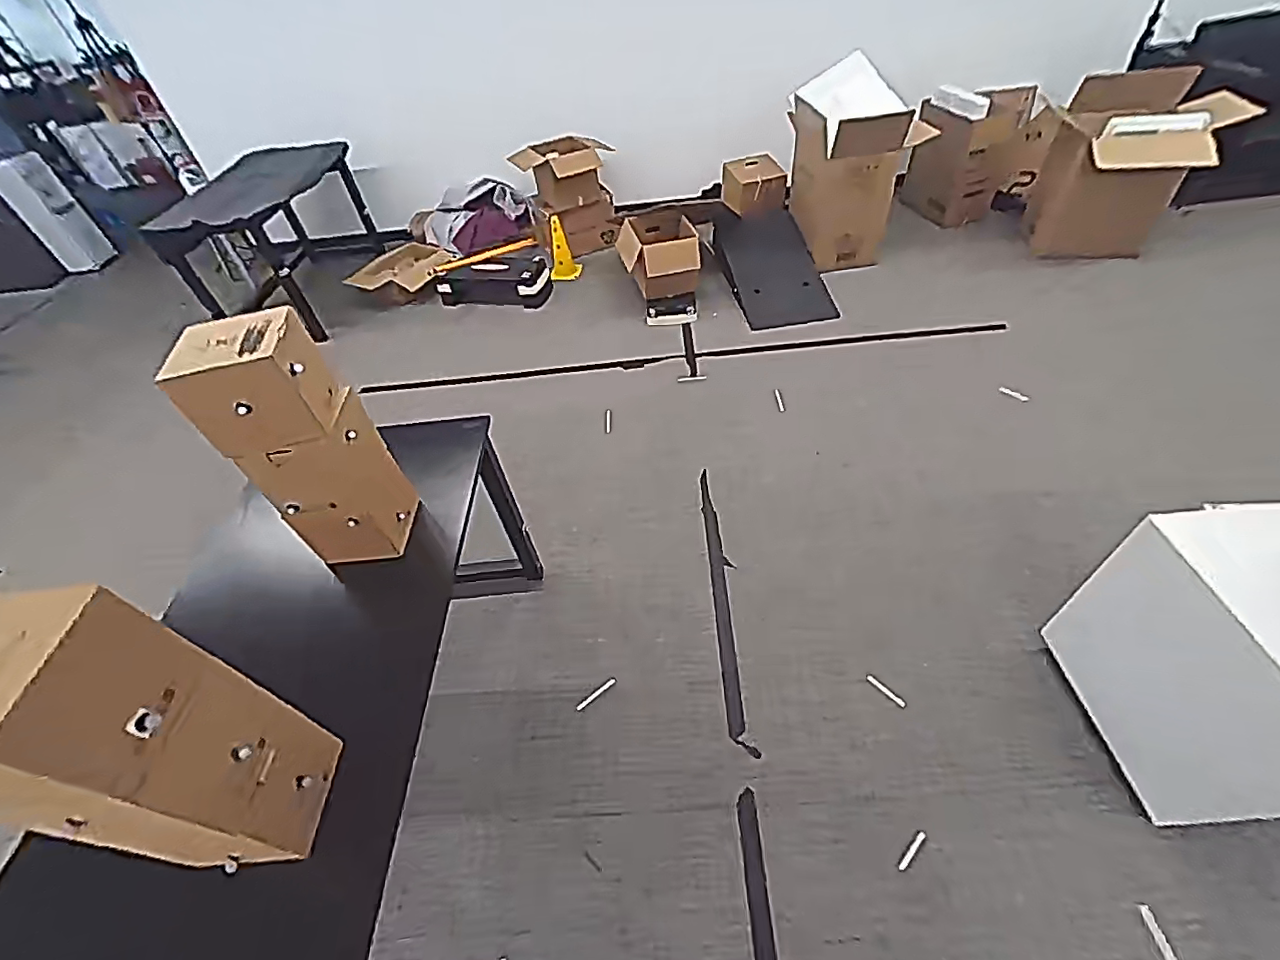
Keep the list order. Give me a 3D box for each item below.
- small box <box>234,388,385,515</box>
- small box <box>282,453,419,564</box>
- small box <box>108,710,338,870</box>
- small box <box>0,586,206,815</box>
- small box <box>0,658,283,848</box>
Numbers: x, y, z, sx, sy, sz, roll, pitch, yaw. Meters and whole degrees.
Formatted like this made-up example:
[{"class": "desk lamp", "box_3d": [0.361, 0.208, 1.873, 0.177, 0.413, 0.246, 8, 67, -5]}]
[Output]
[{"class": "small box", "box_3d": [-0.616, -0.048, 1.039, 0.168, 0.176, 0.179, -8, 46, -1]}, {"class": "small box", "box_3d": [-0.606, 0.065, 1.158, 0.179, 0.176, 0.168, -6, 47, 2]}, {"class": "small box", "box_3d": [-0.581, 0.453, 0.788, 0.179, 0.176, 0.168, -6, 46, 1]}, {"class": "small box", "box_3d": [-0.615, 0.229, 0.552, 0.179, 0.176, 0.168, -6, 48, 2]}, {"class": "small box", "box_3d": [-0.599, 0.341, 0.669, 0.179, 0.176, 0.168, -6, 47, 2]}]
